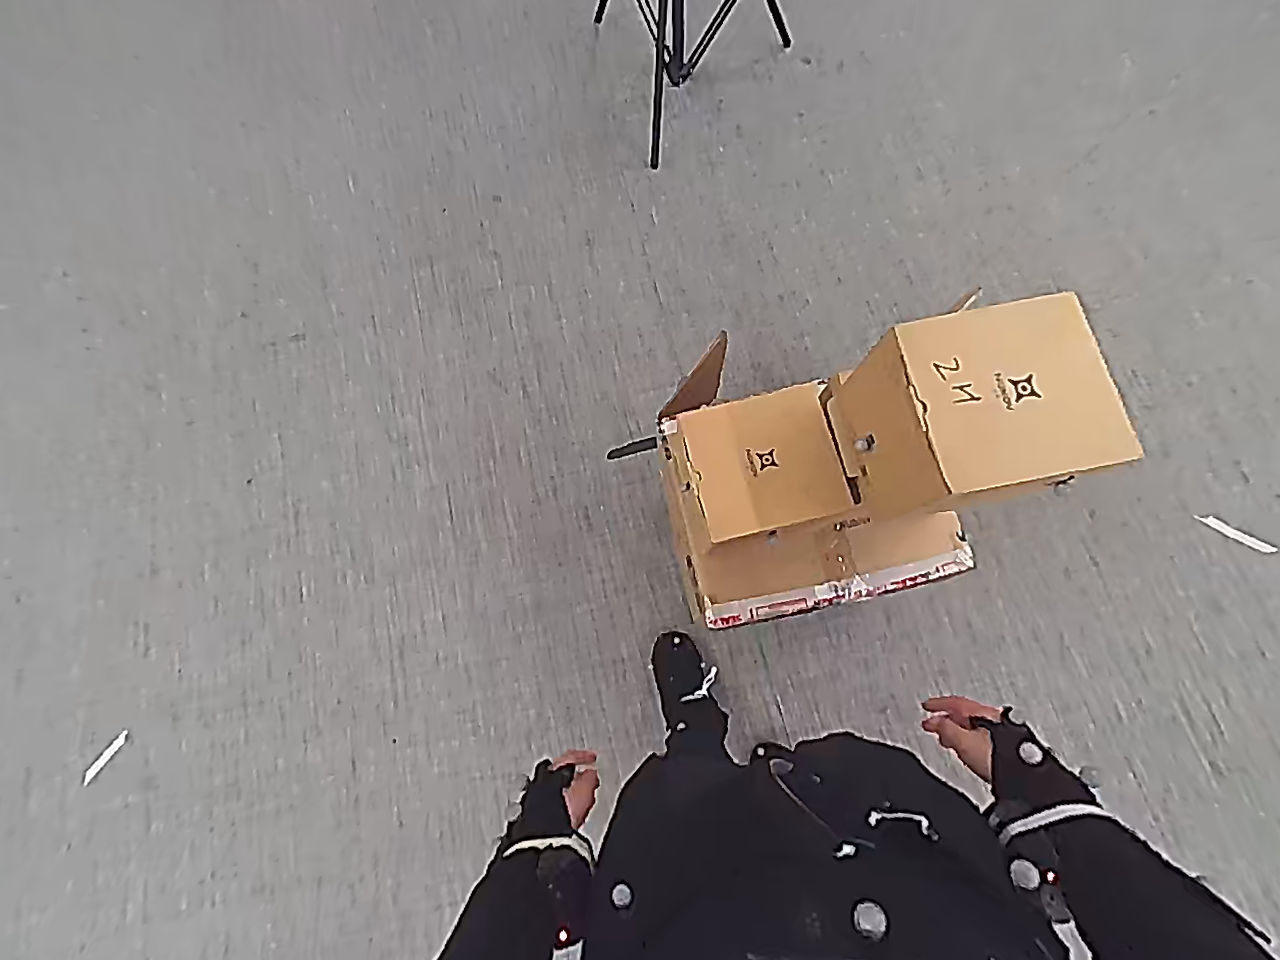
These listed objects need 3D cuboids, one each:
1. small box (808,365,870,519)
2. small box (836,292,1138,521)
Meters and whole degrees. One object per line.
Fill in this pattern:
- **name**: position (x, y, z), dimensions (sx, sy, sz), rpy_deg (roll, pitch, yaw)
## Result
- **small box**: position (0.335, -0.048, 0.720), dimensions (0.179, 0.176, 0.168), rpy_deg (-8, 77, 0)
- **small box**: position (0.329, -0.062, 0.554), dimensions (0.179, 0.176, 0.168), rpy_deg (-11, 76, 0)
